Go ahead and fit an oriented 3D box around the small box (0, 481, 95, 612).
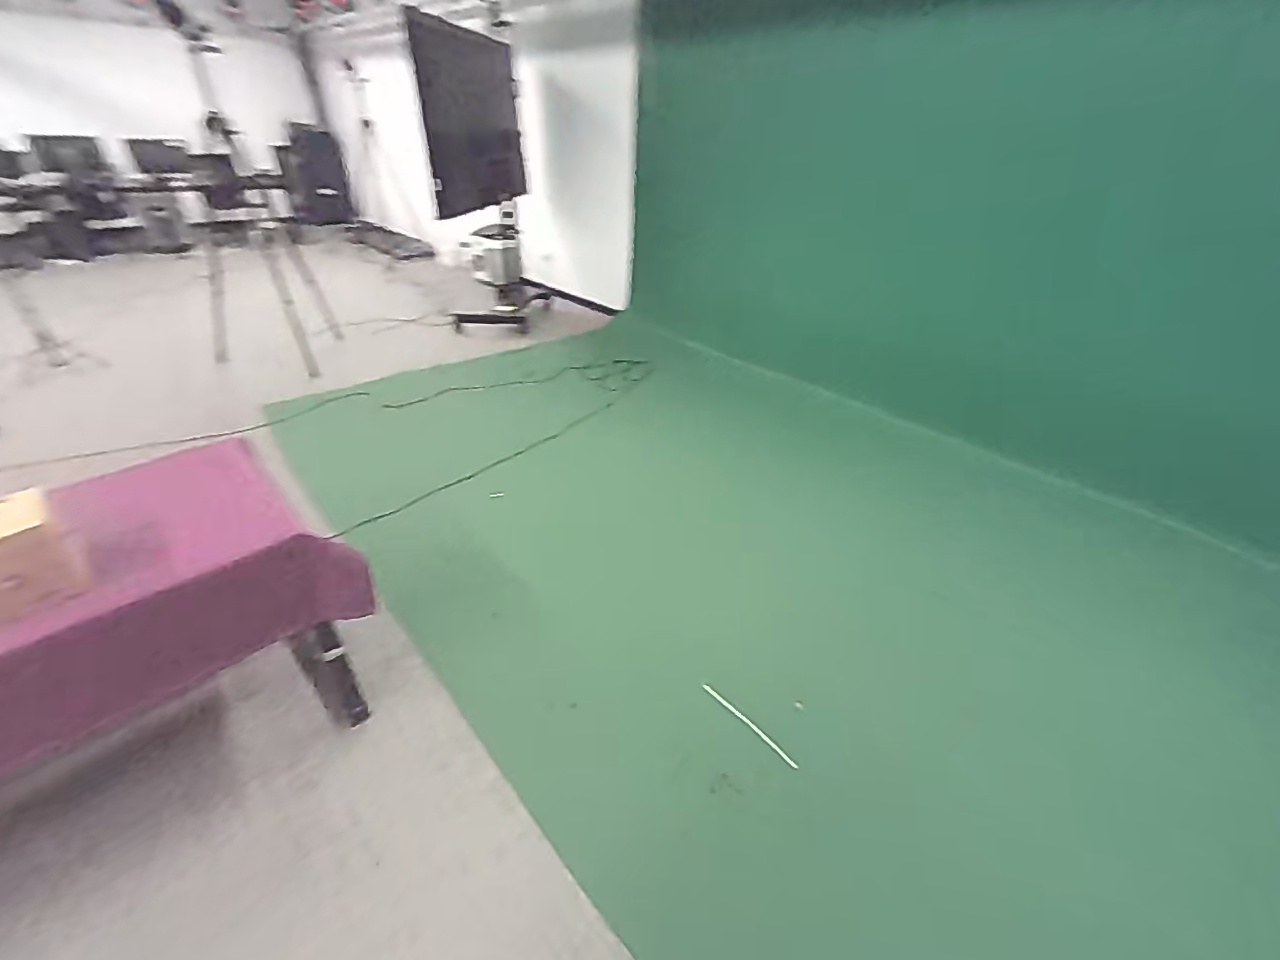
[{"bbox_3d":[-1.211,0.134,1.050,0.168,0.176,0.179,-27,44,-36],"label":"small box"}]
